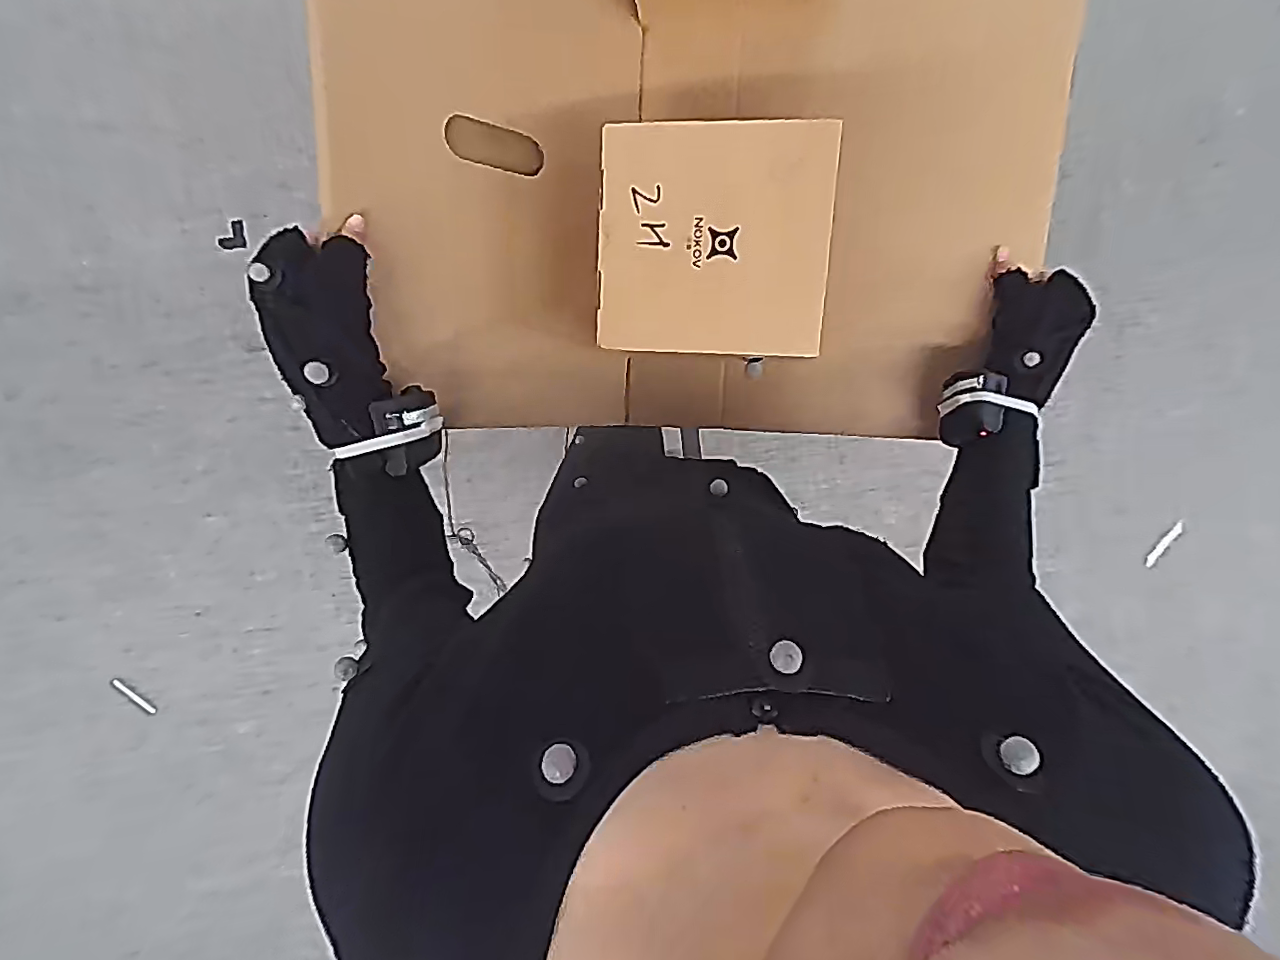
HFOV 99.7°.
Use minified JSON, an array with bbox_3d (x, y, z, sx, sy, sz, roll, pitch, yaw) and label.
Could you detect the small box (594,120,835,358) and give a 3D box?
[{"bbox_3d":[0.063,-0.201,0.495,0.179,0.176,0.168,4,101,8],"label":"small box"}]
